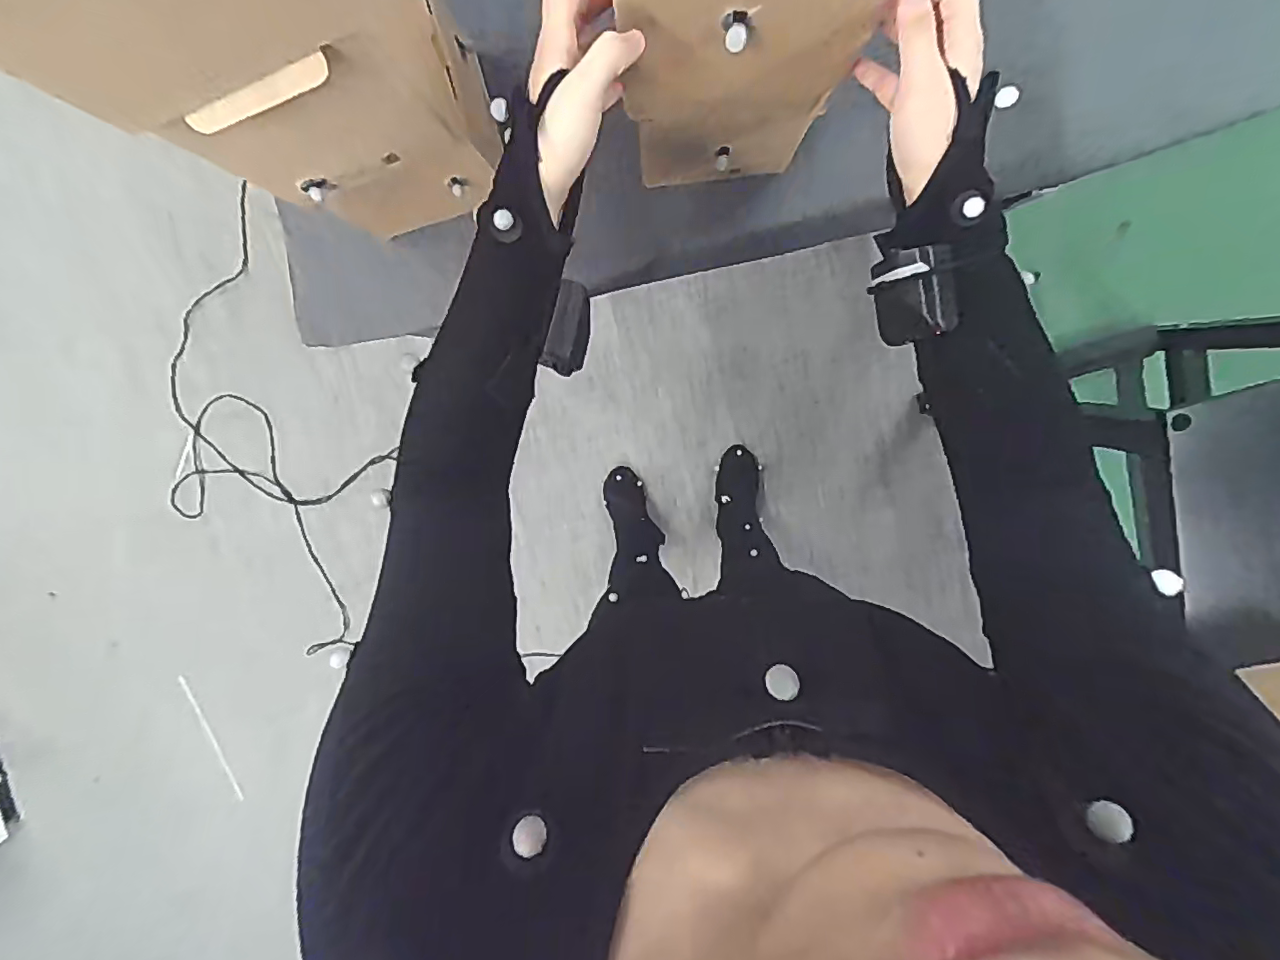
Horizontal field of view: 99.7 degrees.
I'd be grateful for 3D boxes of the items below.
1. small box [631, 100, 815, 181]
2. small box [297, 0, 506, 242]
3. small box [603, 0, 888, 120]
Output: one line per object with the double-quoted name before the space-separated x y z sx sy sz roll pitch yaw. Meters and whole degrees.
"small box" 0.072 -0.418 0.539 0.168 0.176 0.179 -5 101 5
"small box" -0.257 -0.375 0.570 0.179 0.176 0.168 -15 98 7
"small box" 0.068 -0.380 0.379 0.179 0.176 0.168 0 100 4
